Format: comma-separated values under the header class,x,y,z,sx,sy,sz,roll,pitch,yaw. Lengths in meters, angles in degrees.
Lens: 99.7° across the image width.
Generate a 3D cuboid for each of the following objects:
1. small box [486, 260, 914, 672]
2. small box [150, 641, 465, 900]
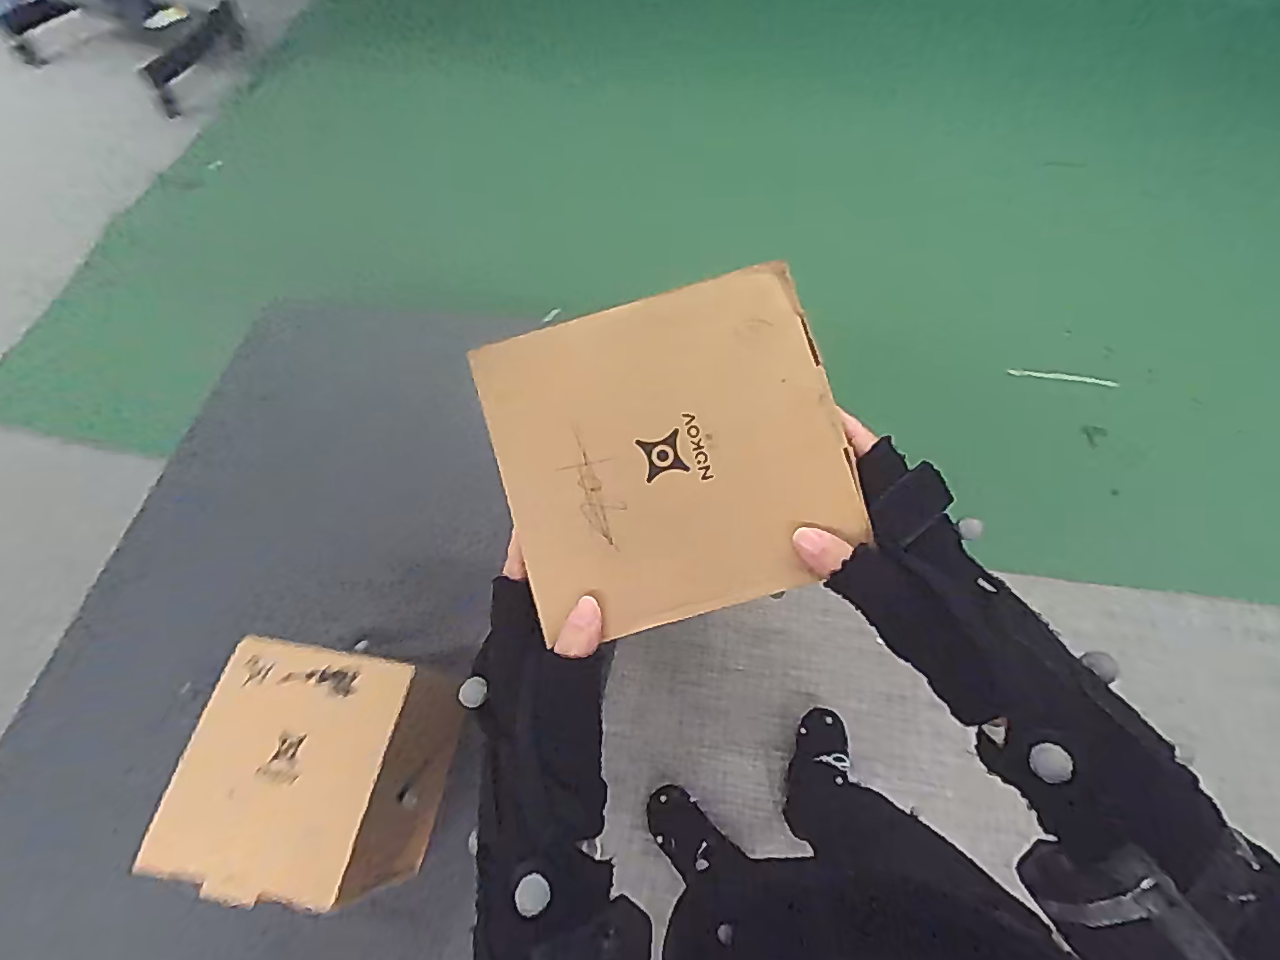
class,x,y,z,sx,sy,sz,roll,pitch,yaw
small box,0.029,-0.004,0.348,0.179,0.176,0.168,-20,84,0
small box,-0.287,0.266,0.519,0.168,0.176,0.179,4,63,5
